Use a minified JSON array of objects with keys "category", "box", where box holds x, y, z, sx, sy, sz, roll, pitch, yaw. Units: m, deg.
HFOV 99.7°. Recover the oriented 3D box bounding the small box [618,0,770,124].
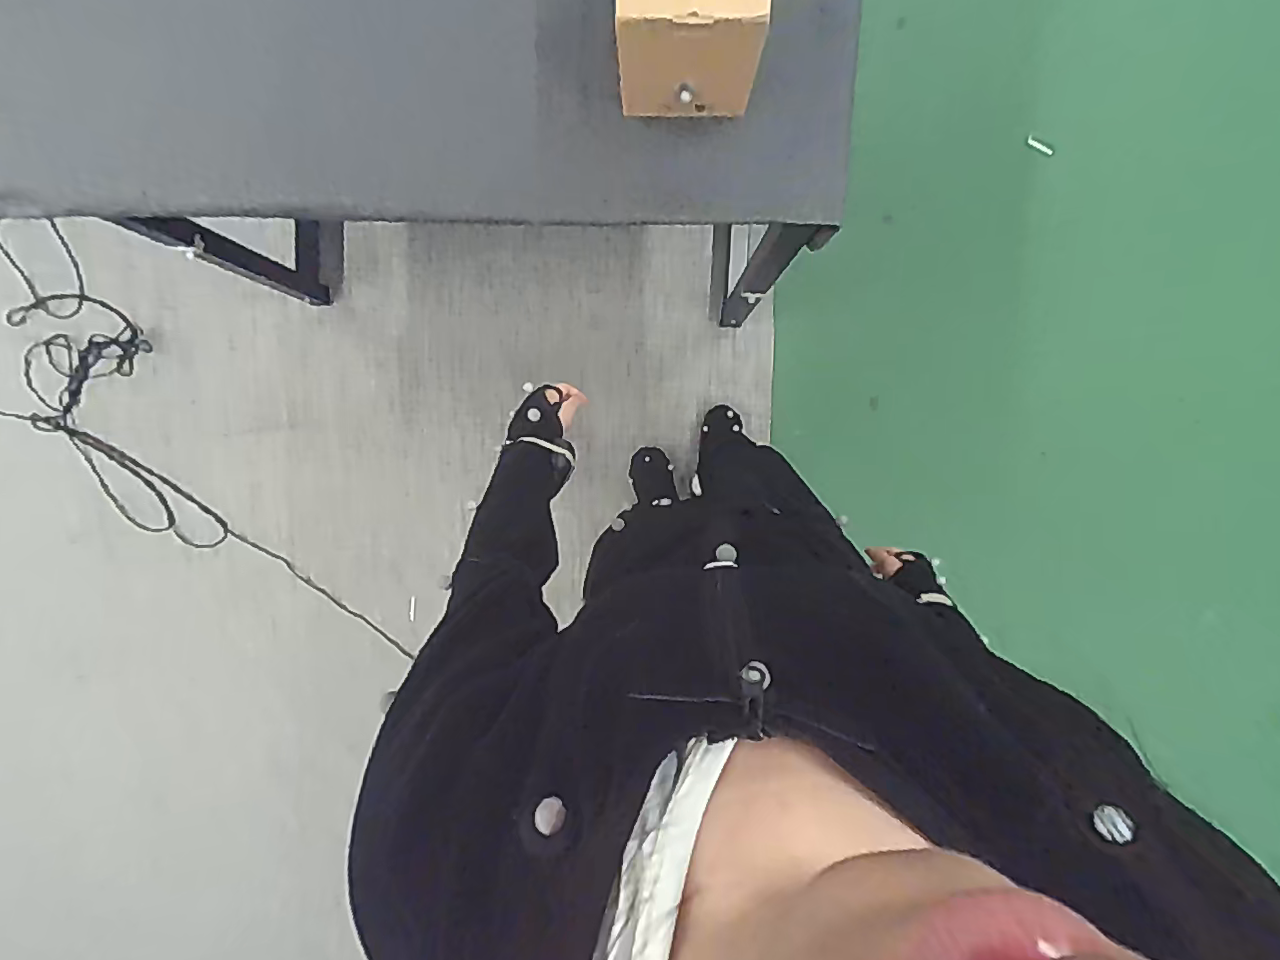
[{"category":"small box","box":[0.061,-0.573,0.655,0.168,0.176,0.179,0,93,3]}]
